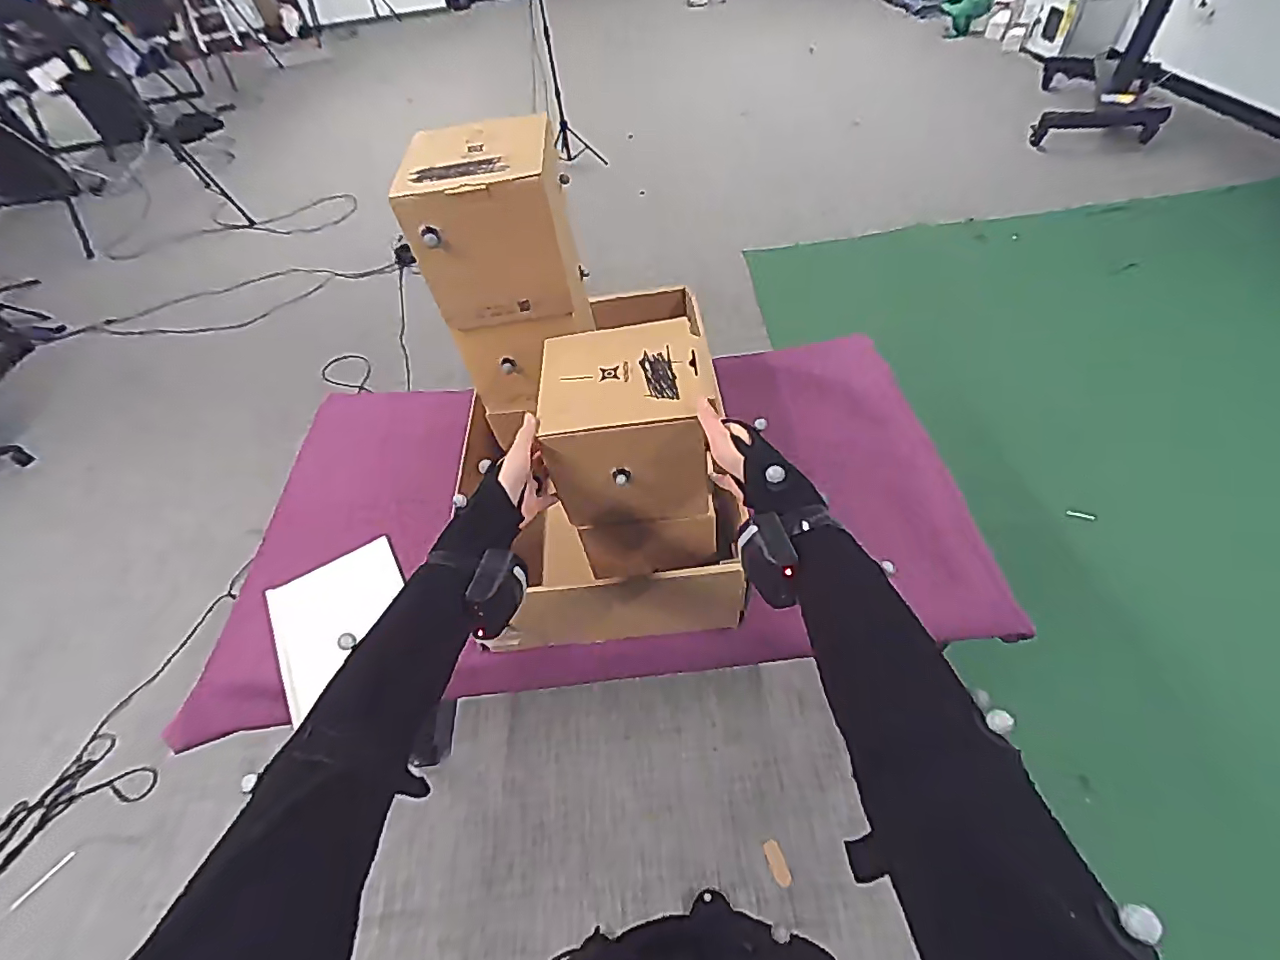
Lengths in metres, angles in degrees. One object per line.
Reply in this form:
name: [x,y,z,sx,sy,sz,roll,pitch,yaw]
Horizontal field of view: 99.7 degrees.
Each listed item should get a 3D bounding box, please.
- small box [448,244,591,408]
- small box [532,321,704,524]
small box: [-0.164,-0.222,0.809,0.168,0.176,0.179,-6,52,3]
small box: [-0.016,-0.064,0.653,0.179,0.176,0.168,-7,50,5]
